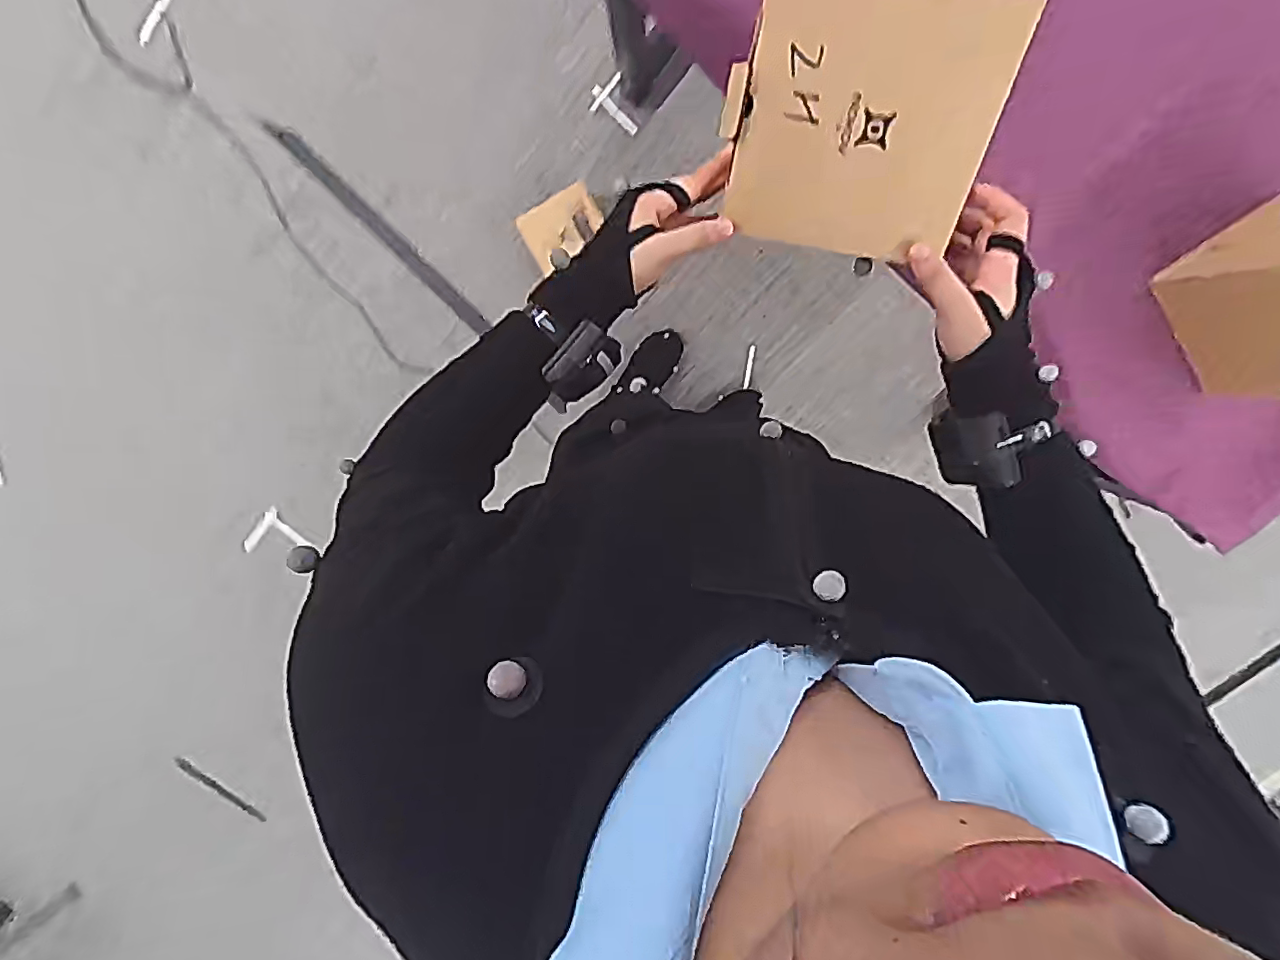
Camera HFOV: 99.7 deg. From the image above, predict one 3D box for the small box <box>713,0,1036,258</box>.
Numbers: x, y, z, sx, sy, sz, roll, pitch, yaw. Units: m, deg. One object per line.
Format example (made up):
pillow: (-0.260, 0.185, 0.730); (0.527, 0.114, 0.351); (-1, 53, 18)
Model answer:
small box: (0.162, -0.294, 0.446); (0.179, 0.176, 0.168); (10, 120, 3)

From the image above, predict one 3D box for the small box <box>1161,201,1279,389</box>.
small box: (0.739, -0.208, 0.587); (0.168, 0.176, 0.179); (-35, 101, 11)
